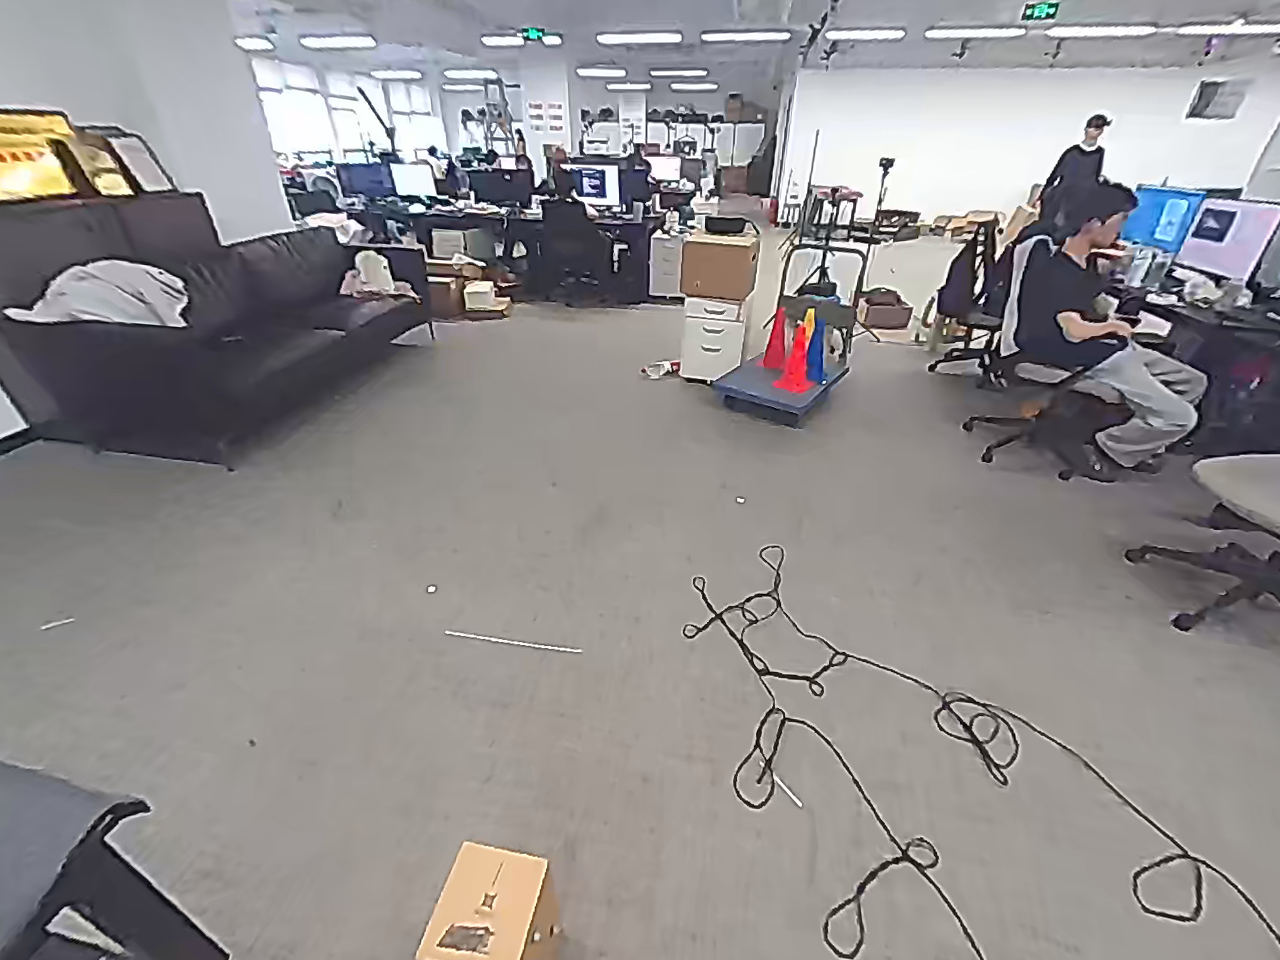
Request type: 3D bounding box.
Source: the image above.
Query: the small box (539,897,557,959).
[{"bbox_3d":[-0.263,0.915,1.030,0.168,0.176,0.179,7,31,11],"label":"small box"}]

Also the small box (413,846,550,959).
[{"bbox_3d":[-0.259,0.782,0.934,0.168,0.176,0.179,6,31,8],"label":"small box"}]
